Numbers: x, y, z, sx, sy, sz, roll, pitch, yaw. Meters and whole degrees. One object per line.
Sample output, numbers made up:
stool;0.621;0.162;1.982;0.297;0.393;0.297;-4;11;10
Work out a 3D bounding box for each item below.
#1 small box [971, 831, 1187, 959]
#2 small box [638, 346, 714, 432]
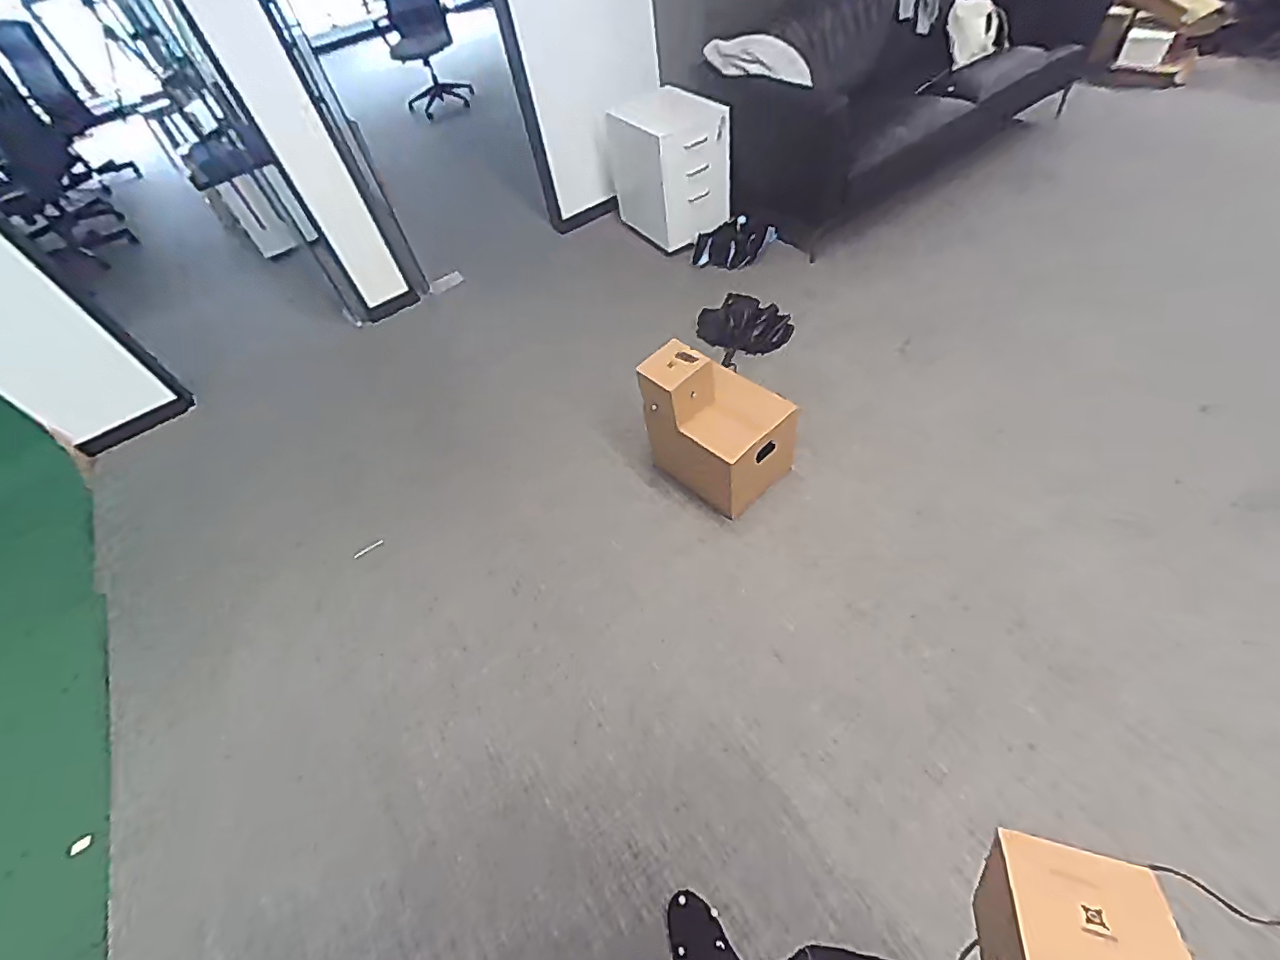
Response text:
small box;0.515;0.576;0.643;0.168;0.176;0.179;7;23;19
small box;0.121;-0.287;1.717;0.179;0.176;0.168;-40;55;-16
